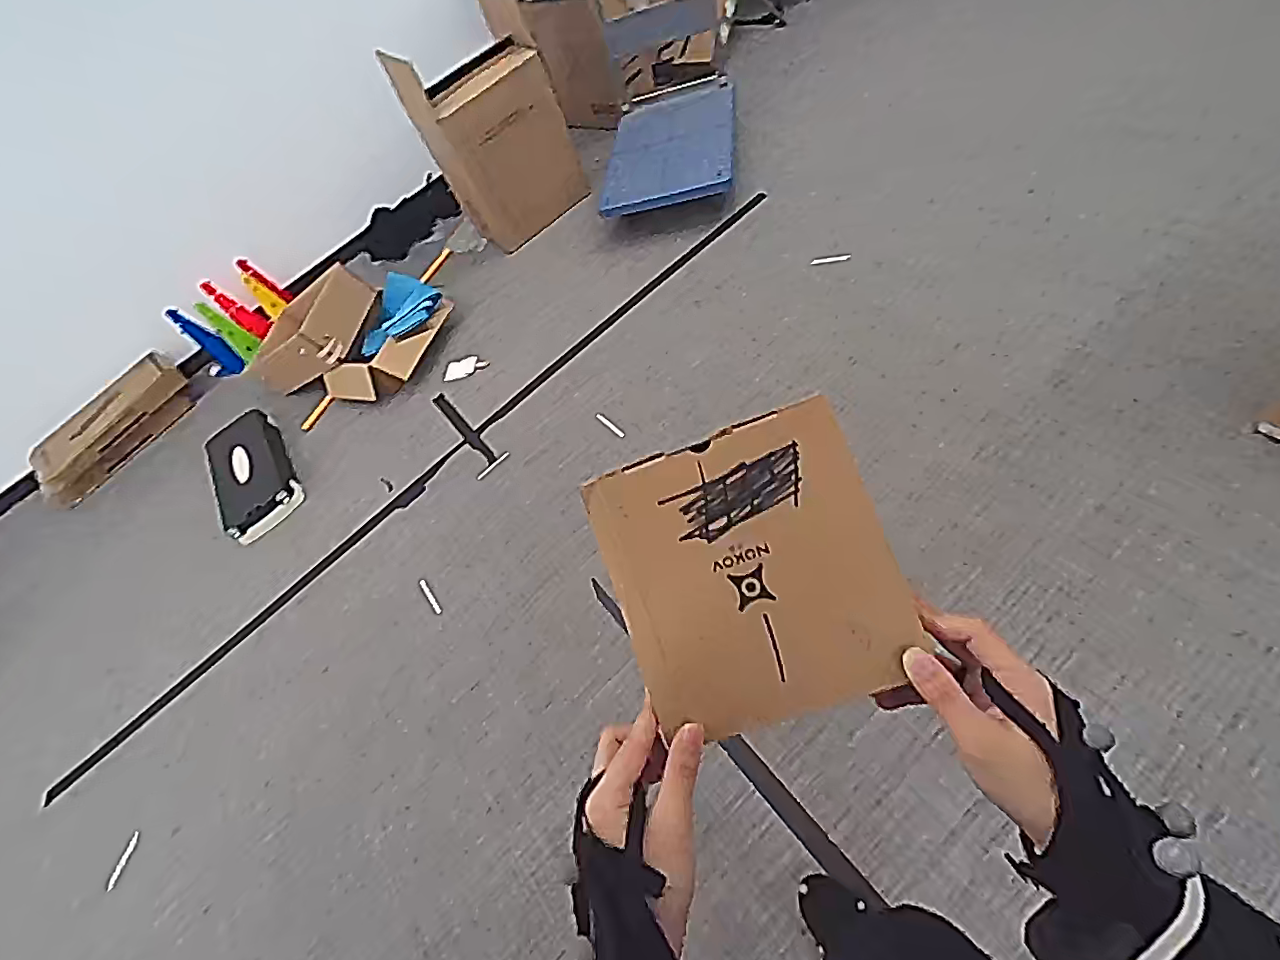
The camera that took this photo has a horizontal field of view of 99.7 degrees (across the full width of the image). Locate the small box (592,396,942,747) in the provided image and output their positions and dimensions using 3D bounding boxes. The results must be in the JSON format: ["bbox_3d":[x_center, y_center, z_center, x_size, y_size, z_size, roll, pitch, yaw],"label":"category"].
[{"bbox_3d":[0.082,0.062,0.406,0.168,0.176,0.179,-20,82,8],"label":"small box"}]
